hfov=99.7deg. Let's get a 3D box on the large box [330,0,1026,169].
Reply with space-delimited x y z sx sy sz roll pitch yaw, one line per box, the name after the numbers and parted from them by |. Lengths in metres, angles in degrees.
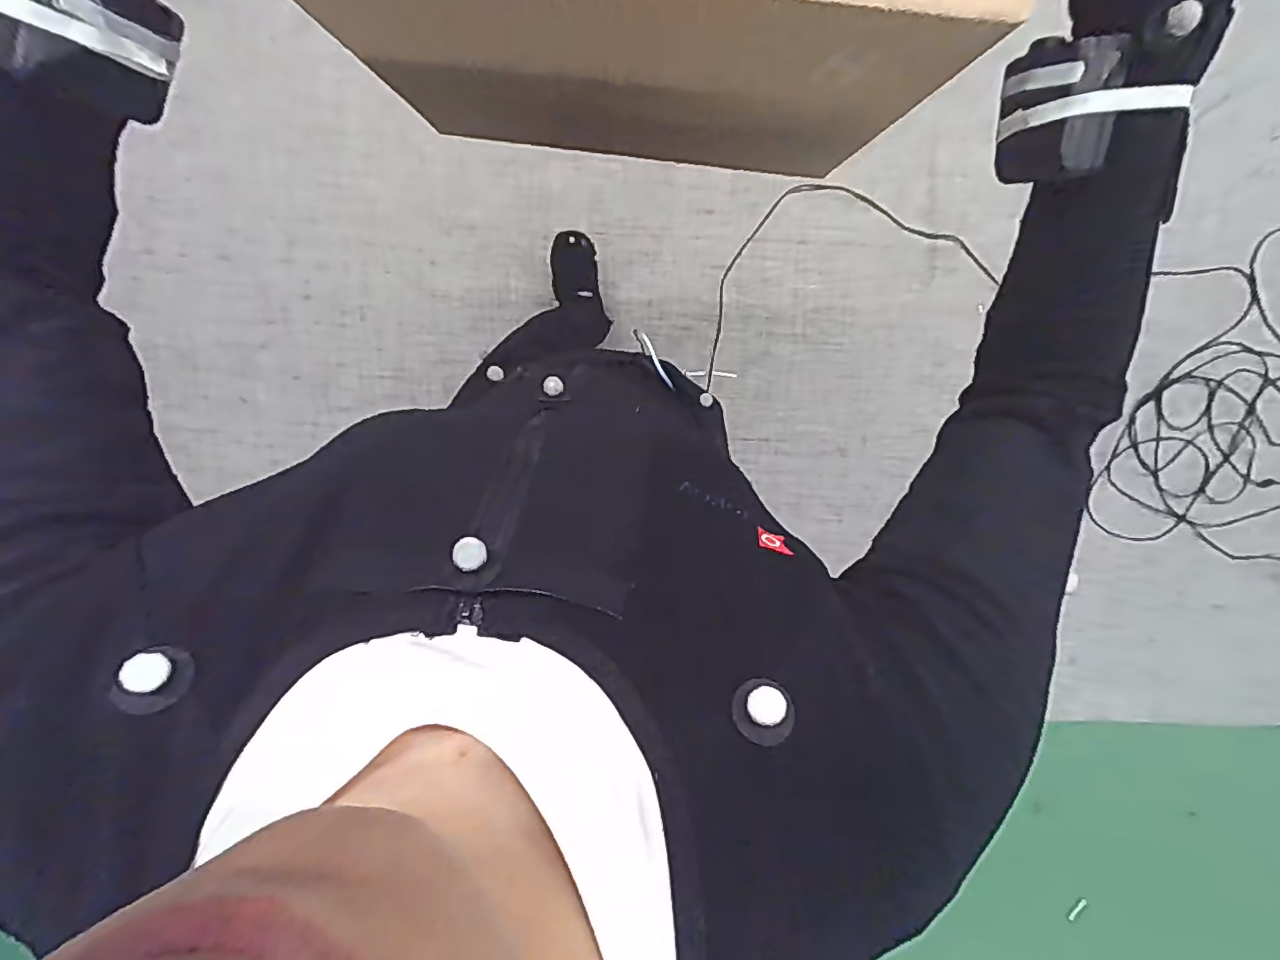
0.014 -0.444 0.378 0.408 0.320 0.320 5 107 -3 | large box
